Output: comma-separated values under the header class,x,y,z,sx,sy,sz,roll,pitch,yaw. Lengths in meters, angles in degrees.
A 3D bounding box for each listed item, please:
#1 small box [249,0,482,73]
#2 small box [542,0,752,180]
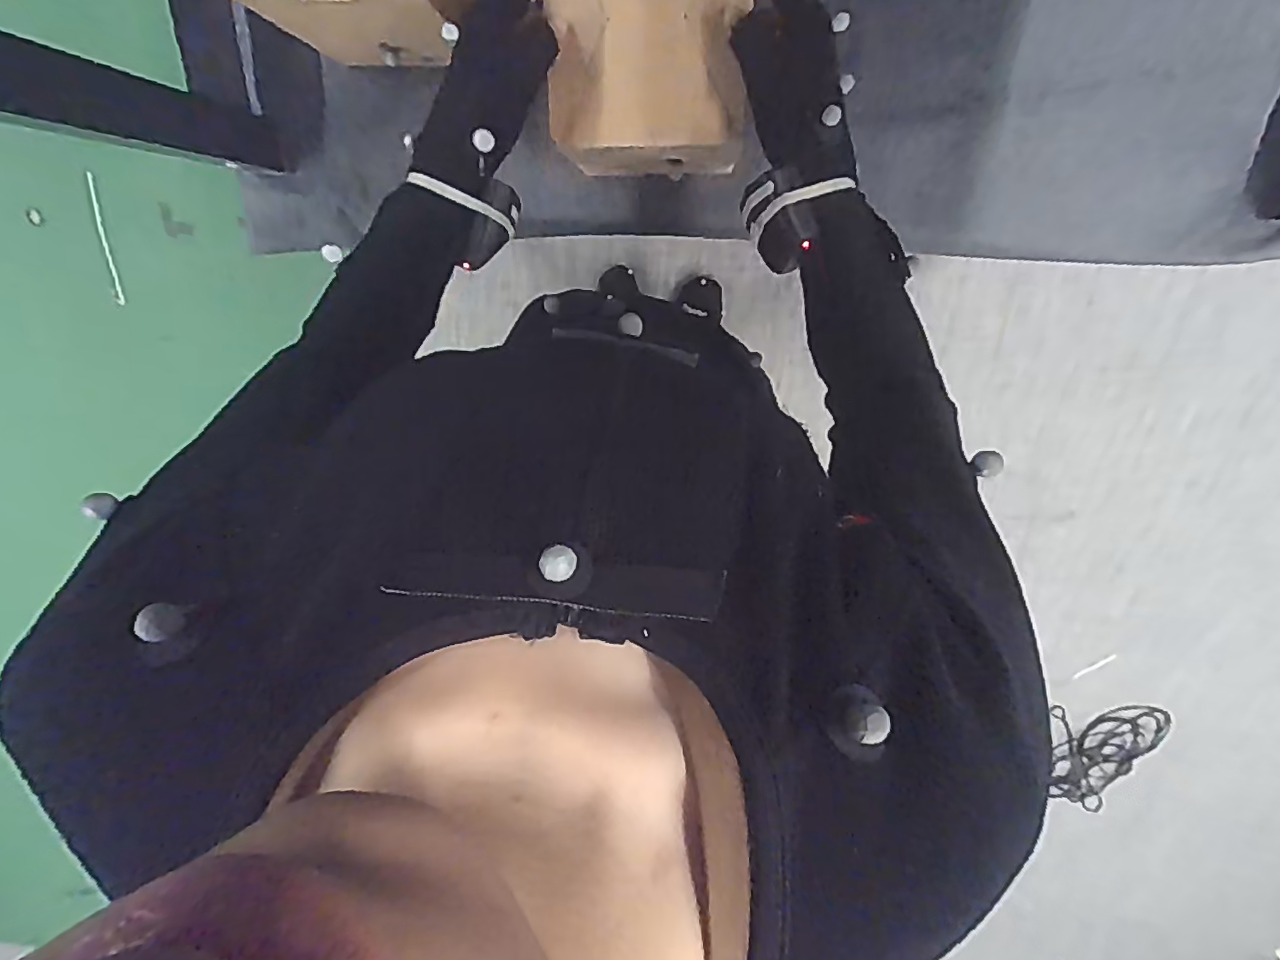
class,x,y,z,sx,sy,sz,roll,pitch,yaw
small box,-0.250,-0.496,0.478,0.168,0.176,0.179,3,111,3
small box,0.010,-0.388,0.494,0.168,0.176,0.179,2,111,5
